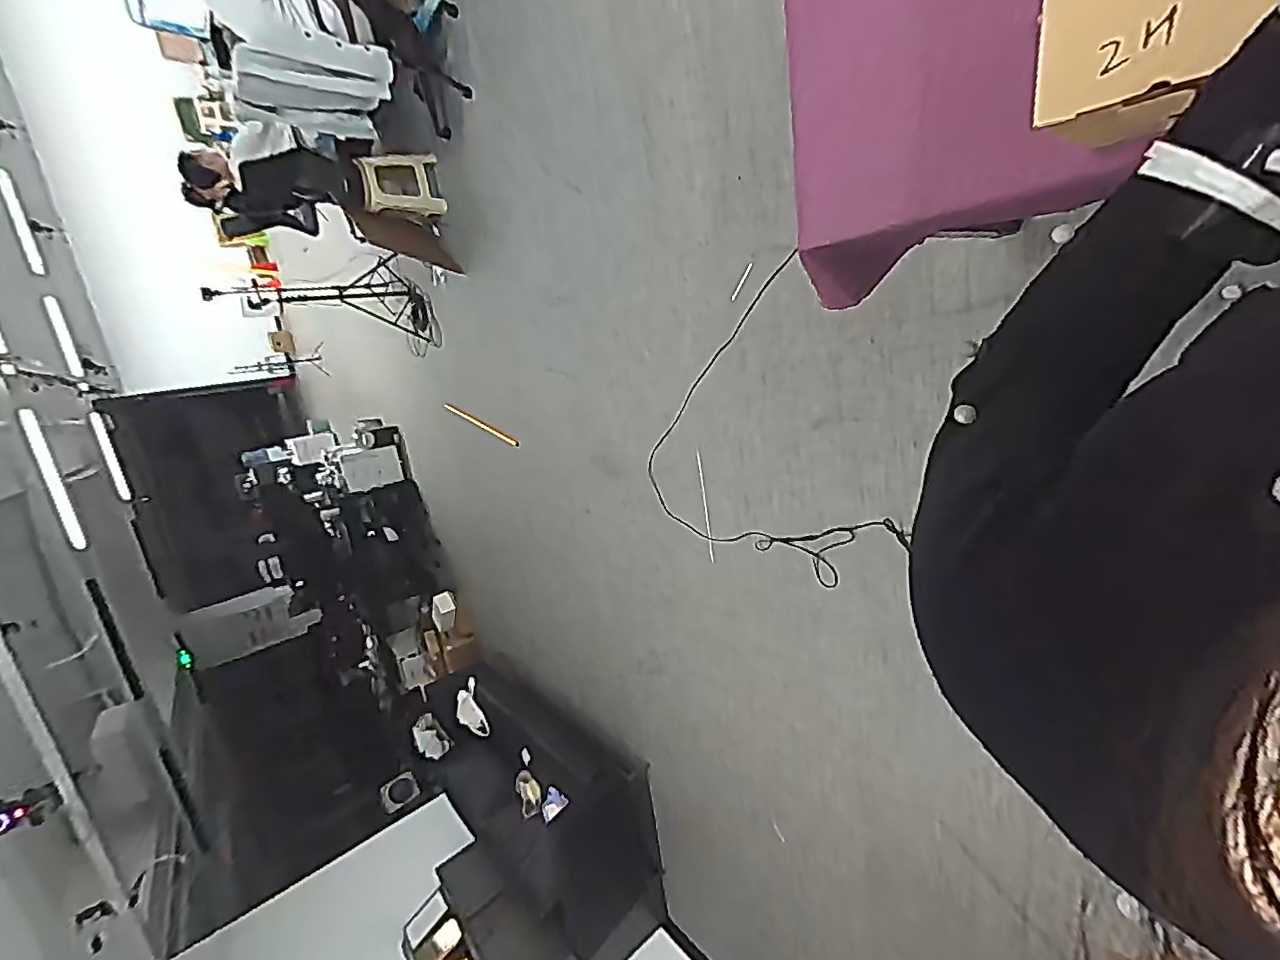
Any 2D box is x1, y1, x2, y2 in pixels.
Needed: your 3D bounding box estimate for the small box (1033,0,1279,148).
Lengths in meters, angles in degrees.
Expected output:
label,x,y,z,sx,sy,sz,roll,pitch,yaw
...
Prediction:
label,x,y,z,sx,sy,sz,roll,pitch,yaw
small box,0.458,-0.402,0.446,0.168,0.176,0.179,14,116,50
